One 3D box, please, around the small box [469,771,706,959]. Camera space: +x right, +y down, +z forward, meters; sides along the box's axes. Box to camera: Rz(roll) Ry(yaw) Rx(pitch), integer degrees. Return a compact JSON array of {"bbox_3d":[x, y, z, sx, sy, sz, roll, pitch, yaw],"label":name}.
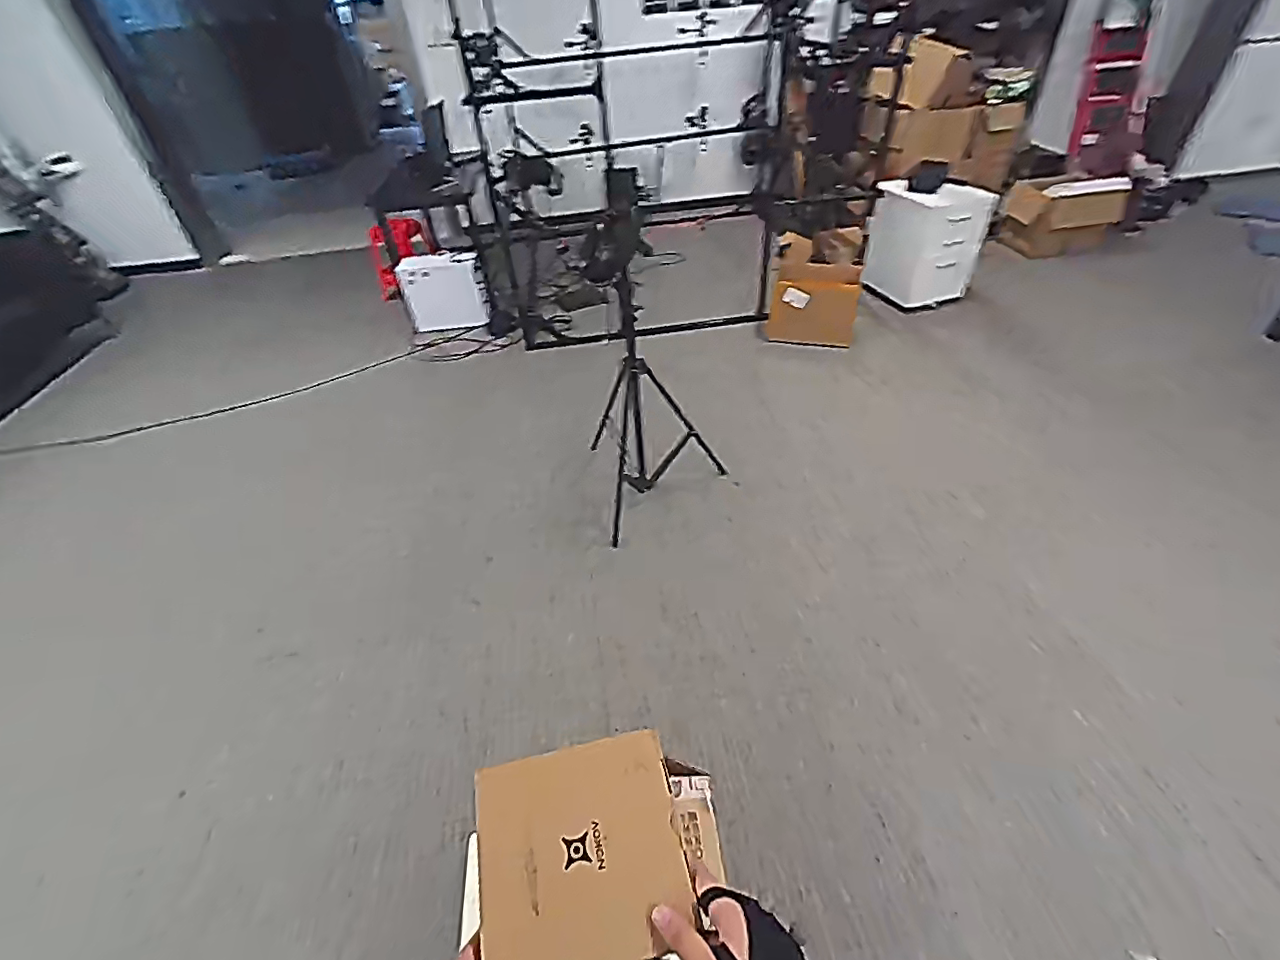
[{"bbox_3d":[-0.048,0.399,0.504,0.179,0.176,0.168,-13,49,-9],"label":"small box"}]
